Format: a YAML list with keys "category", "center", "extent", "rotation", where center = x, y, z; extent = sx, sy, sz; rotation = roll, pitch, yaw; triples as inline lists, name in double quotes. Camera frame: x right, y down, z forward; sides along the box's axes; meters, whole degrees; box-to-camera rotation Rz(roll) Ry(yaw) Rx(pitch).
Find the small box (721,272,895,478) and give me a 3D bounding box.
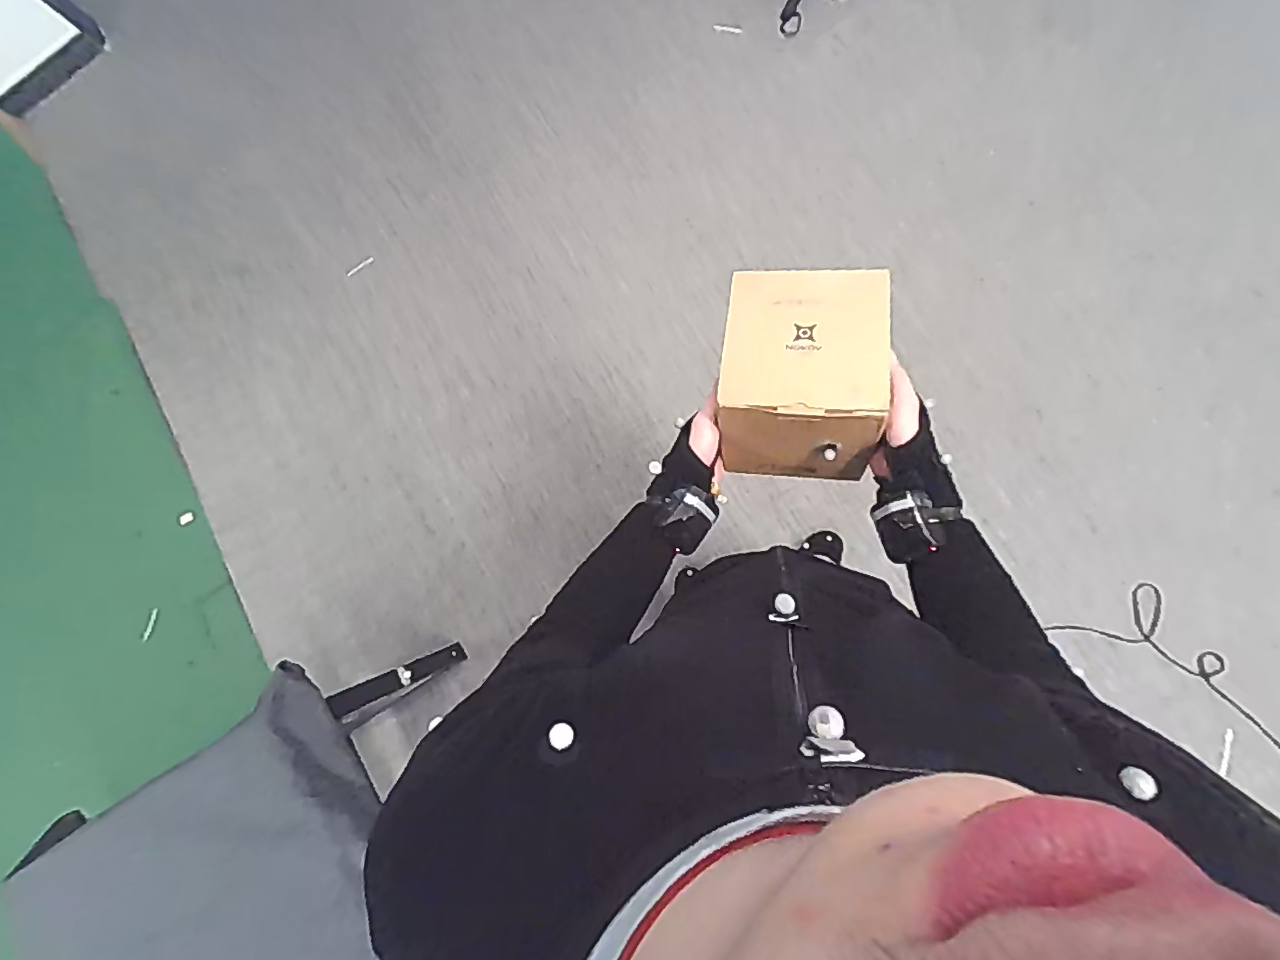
- category: "small box"
  center: [0.188, -0.114, 0.627]
  extent: [0.168, 0.176, 0.179]
  rotation: [5, 67, 12]
